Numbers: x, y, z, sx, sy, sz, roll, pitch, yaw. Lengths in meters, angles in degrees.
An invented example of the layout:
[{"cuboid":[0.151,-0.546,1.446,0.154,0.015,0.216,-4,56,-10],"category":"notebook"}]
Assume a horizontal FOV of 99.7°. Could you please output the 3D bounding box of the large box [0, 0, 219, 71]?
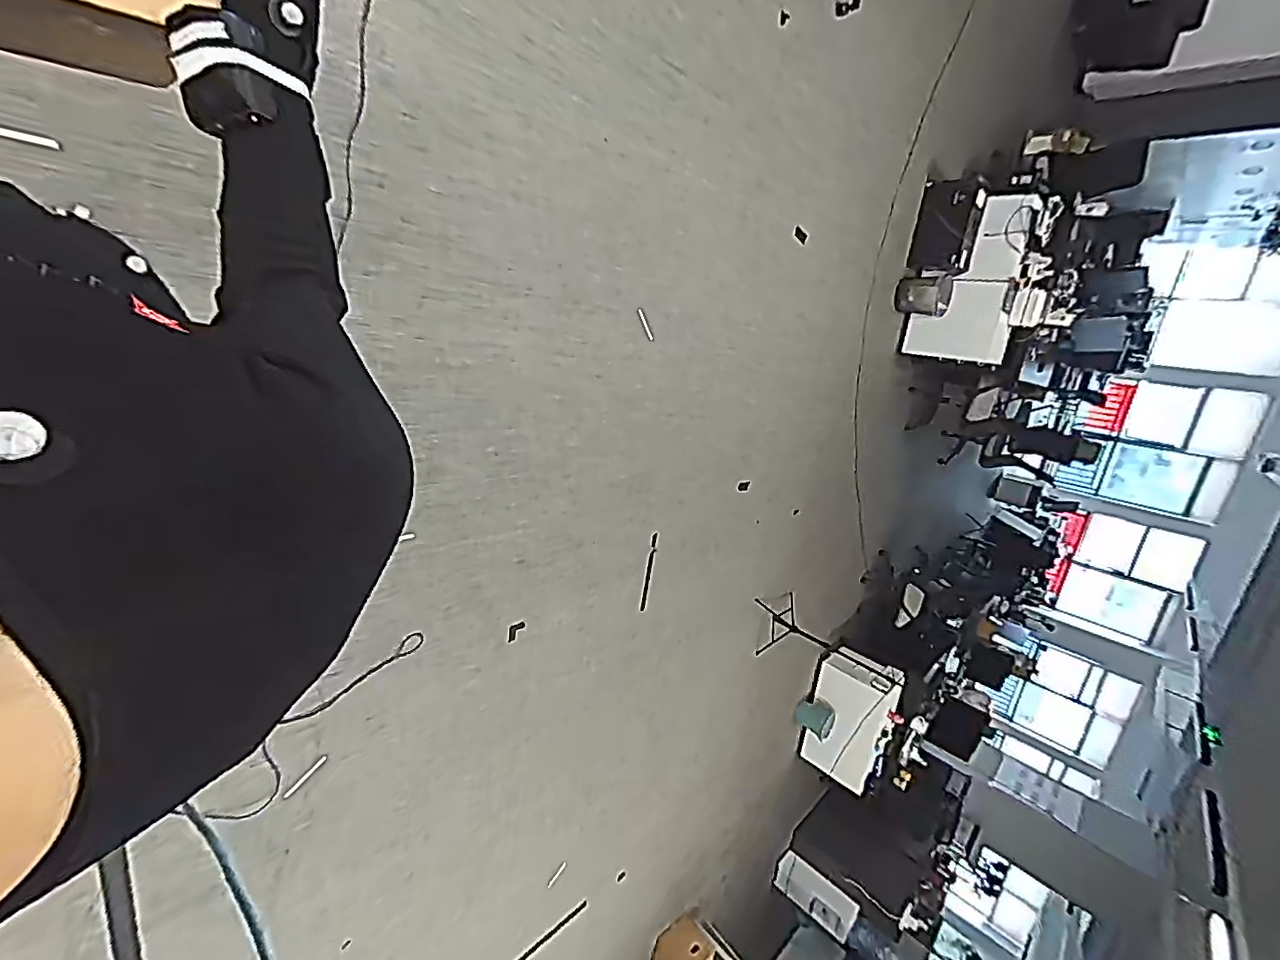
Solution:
[{"cuboid":[-0.537,-0.480,0.296,0.408,0.320,0.320,-16,123,-44],"category":"large box"}]
